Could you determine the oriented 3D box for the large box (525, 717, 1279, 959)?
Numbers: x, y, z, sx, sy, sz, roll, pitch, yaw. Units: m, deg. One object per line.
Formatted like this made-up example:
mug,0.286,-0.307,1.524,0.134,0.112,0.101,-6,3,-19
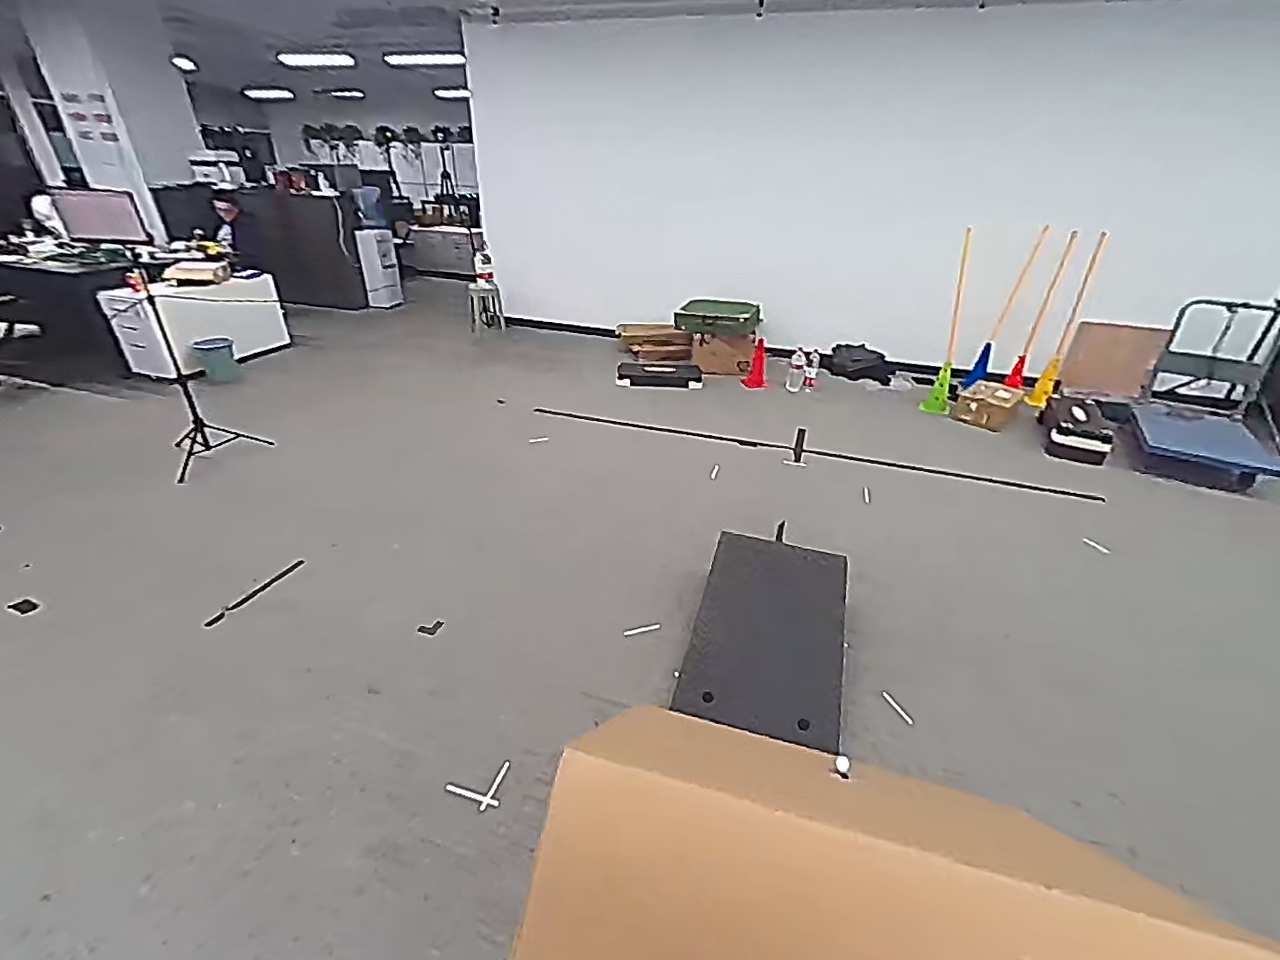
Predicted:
large box,0.134,0.401,0.416,0.408,0.320,0.320,10,76,11
